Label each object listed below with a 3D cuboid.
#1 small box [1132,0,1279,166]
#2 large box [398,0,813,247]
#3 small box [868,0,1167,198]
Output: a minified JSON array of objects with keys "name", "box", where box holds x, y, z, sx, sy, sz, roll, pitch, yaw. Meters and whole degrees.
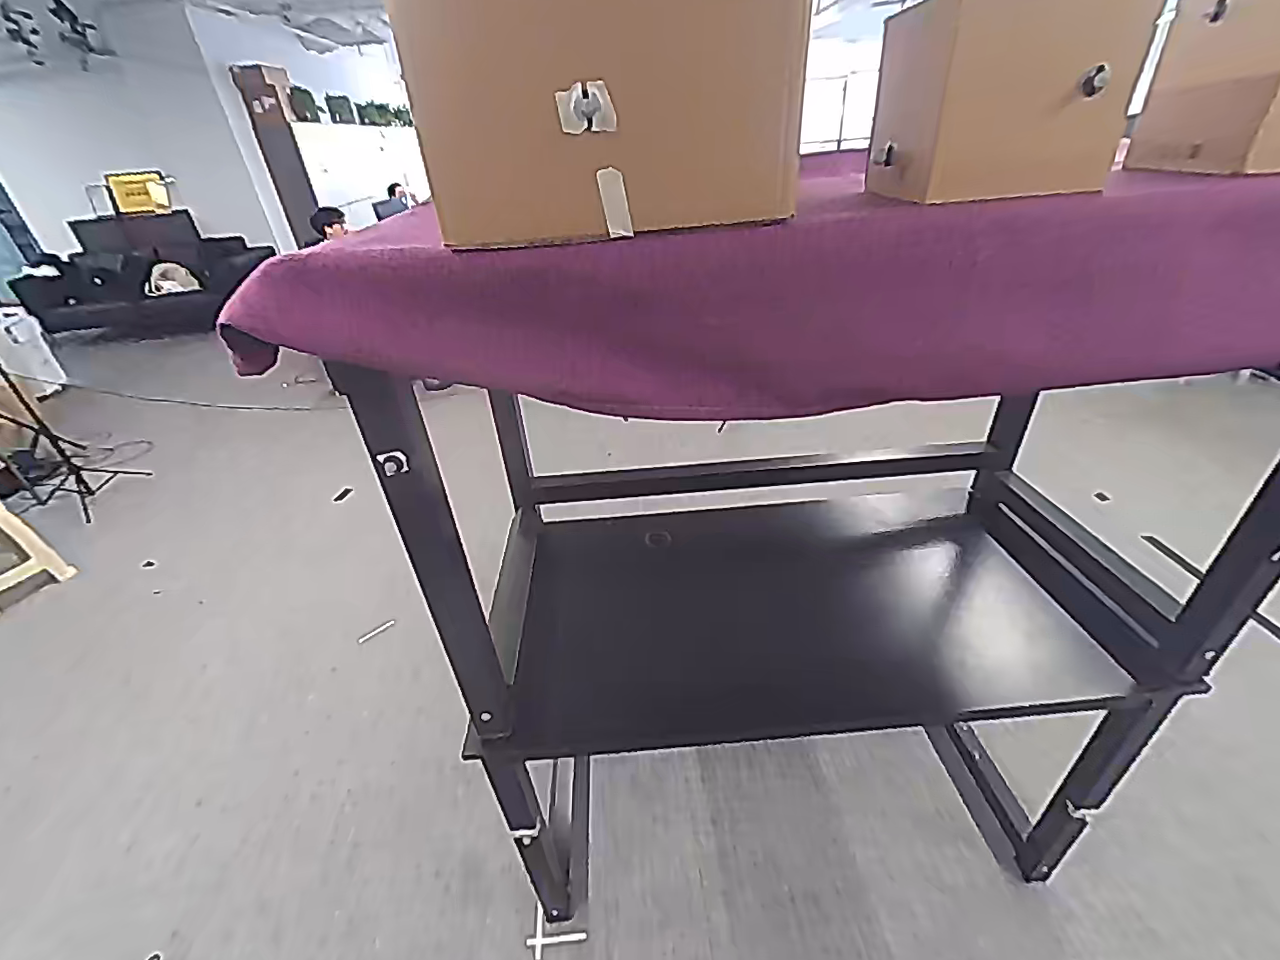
[{"name":"small box","box":[0.674,-0.427,0.551,0.179,0.176,0.168,-3,31,4]},{"name":"large box","box":[-0.043,-0.441,0.552,0.320,0.320,0.408,-6,31,-3]},{"name":"small box","box":[0.353,-0.391,0.543,0.179,0.176,0.168,-4,31,2]}]
